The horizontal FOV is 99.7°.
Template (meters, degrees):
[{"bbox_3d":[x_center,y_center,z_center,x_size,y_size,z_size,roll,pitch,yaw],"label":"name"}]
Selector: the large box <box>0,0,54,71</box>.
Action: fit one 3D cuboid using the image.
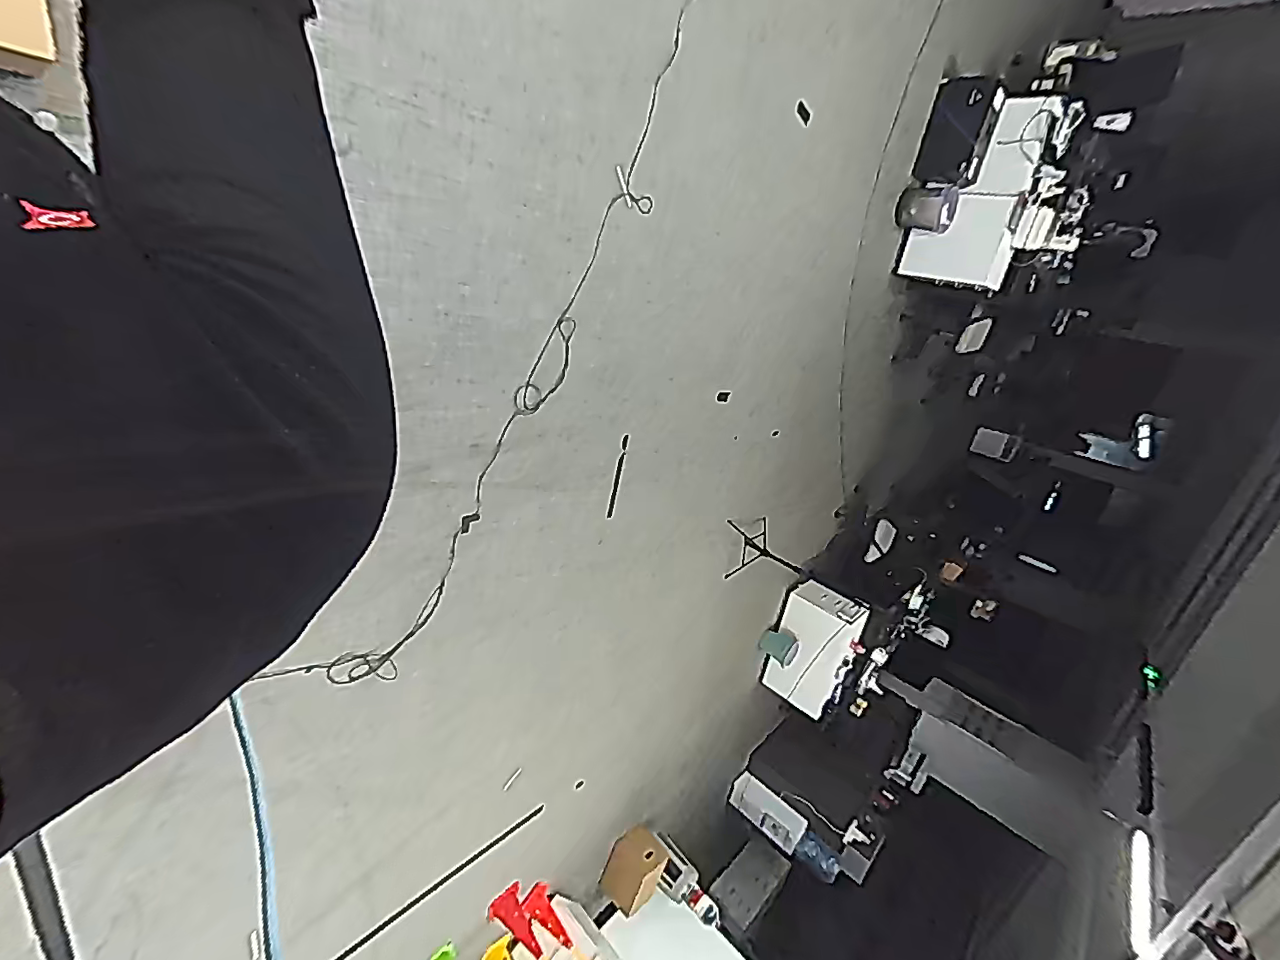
[{"bbox_3d":[-1.002,-0.724,0.610,0.408,0.320,0.320,-15,123,-47],"label":"large box"}]
